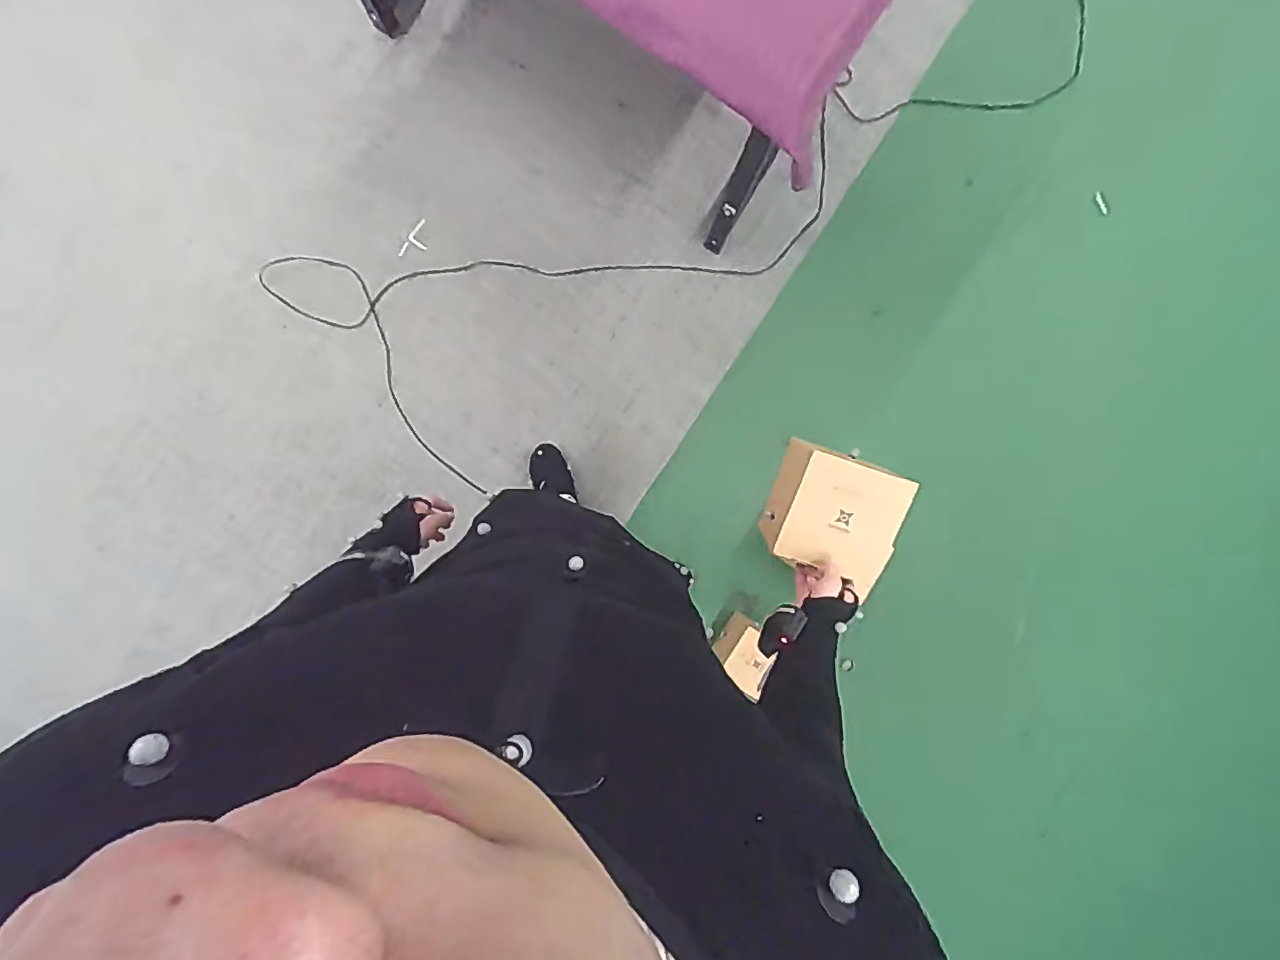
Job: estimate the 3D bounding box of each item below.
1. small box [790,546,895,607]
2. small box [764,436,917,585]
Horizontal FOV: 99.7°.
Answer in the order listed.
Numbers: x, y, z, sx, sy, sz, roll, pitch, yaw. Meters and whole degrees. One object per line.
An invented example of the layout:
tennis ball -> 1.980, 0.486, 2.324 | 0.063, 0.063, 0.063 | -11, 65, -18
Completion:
small box -> 0.523, 0.203, 1.428 | 0.168, 0.176, 0.179 | 32, 90, -4
small box -> 0.312, 0.040, 0.886 | 0.168, 0.176, 0.179 | 19, 102, 1
